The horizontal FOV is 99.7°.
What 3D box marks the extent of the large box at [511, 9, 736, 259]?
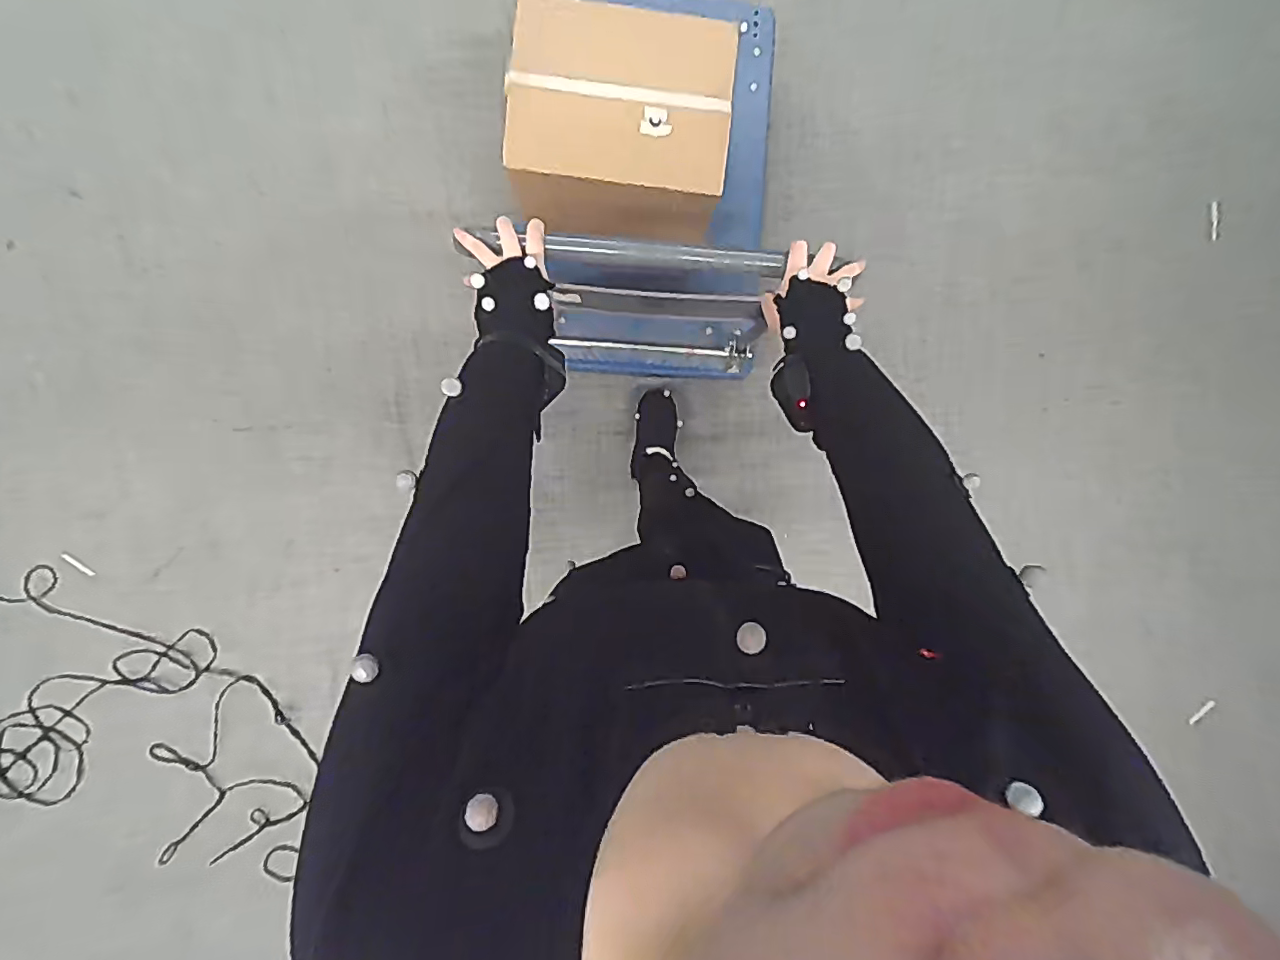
[{"bbox_3d":[-0.040,-0.699,1.151,0.408,0.320,0.320,6,91,-4],"label":"large box"}]
